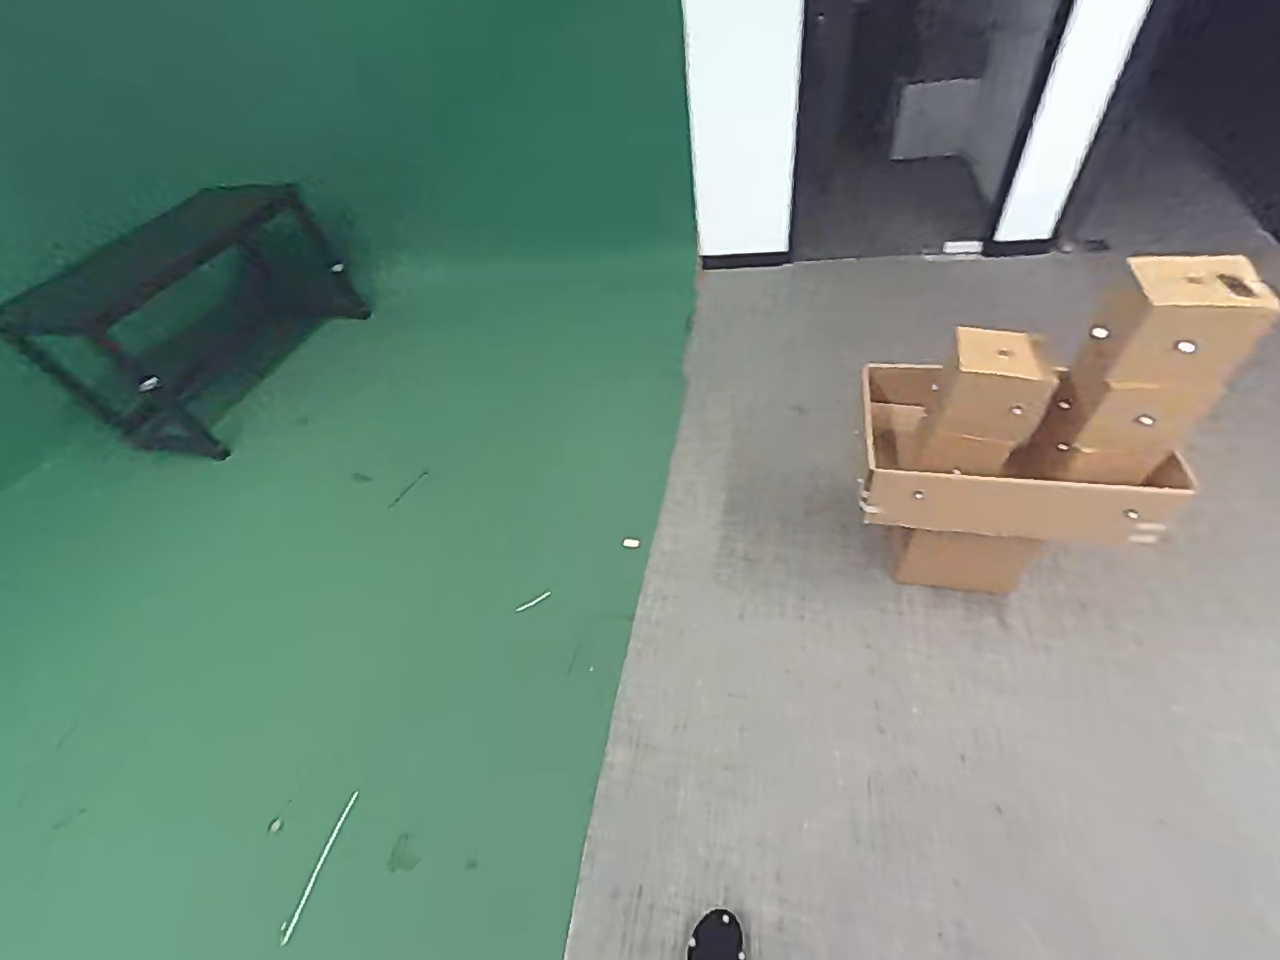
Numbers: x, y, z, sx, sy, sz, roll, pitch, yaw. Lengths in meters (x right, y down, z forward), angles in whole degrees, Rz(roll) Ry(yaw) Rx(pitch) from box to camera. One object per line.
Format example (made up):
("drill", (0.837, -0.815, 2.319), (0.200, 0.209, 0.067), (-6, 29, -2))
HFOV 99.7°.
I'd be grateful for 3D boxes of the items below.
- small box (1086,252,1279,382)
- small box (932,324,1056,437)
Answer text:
("small box", (0.971, -0.295, 0.990), (0.179, 0.176, 0.168), (6, 51, 17))
("small box", (0.761, -0.214, 1.181), (0.179, 0.176, 0.168), (11, 51, 16))
